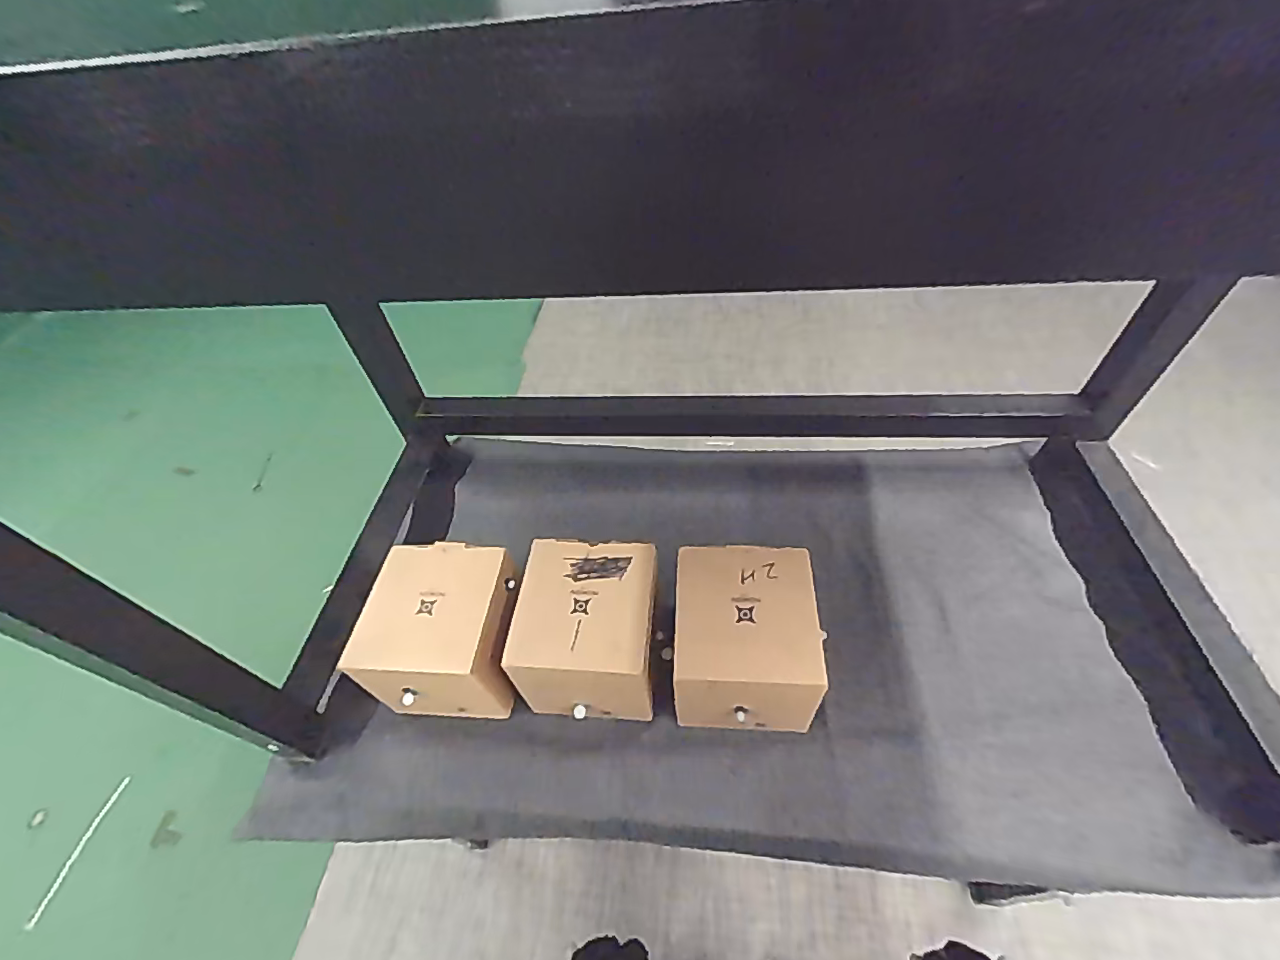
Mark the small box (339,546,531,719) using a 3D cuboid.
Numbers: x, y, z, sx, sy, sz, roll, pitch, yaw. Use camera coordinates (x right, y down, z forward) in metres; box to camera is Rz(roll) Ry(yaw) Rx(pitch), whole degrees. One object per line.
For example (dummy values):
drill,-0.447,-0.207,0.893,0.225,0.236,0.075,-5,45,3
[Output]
small box,-0.258,0.209,0.735,0.168,0.176,0.179,0,48,7
